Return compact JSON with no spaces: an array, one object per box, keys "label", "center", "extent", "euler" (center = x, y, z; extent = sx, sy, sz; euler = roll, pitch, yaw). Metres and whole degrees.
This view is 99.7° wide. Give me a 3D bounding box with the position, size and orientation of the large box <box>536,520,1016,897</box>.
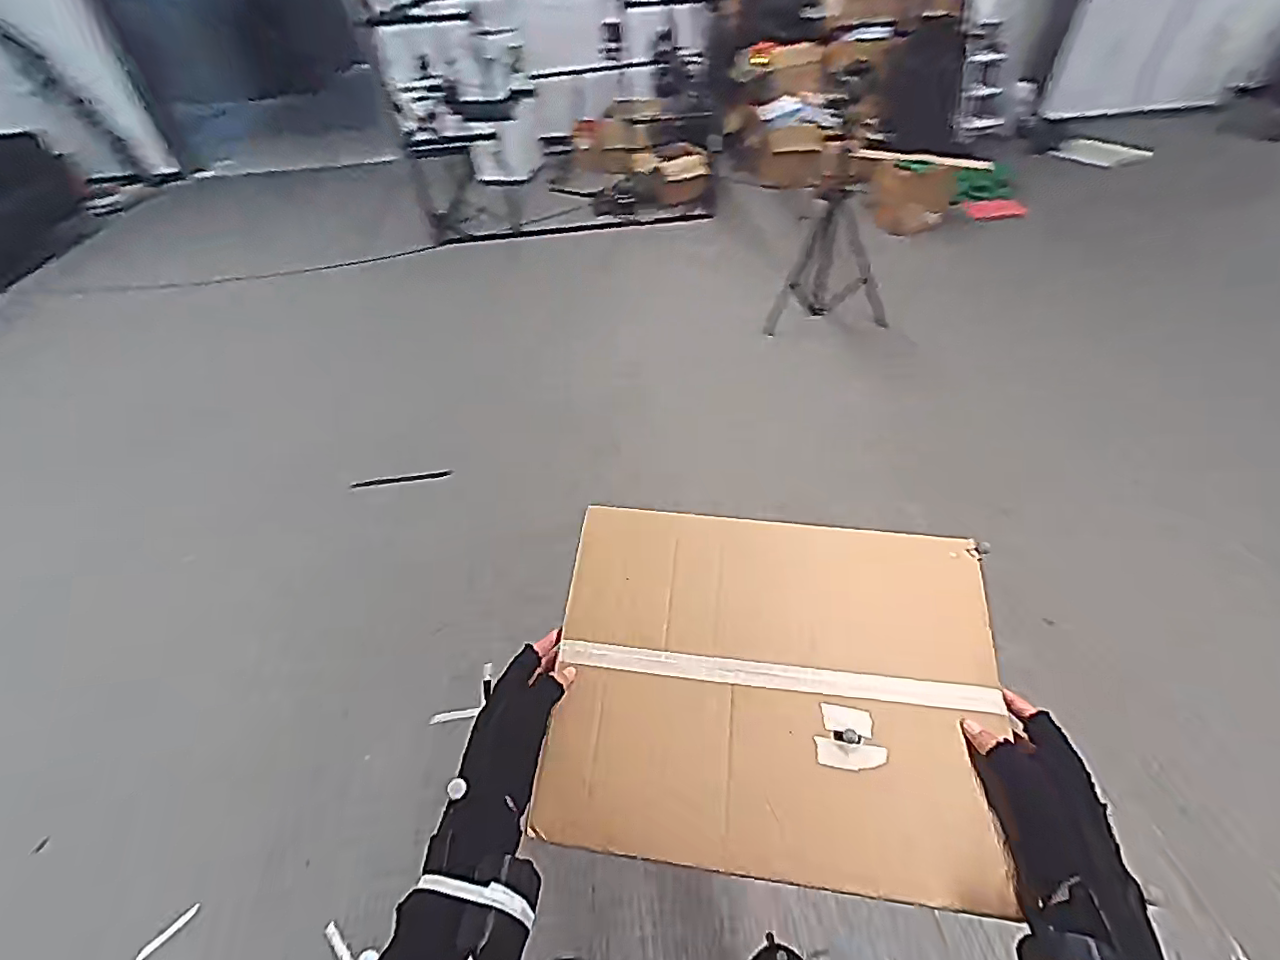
[{"label":"large box","center":[0.125,0.261,0.649],"extent":[0.408,0.320,0.320],"euler":[4,62,6]}]
